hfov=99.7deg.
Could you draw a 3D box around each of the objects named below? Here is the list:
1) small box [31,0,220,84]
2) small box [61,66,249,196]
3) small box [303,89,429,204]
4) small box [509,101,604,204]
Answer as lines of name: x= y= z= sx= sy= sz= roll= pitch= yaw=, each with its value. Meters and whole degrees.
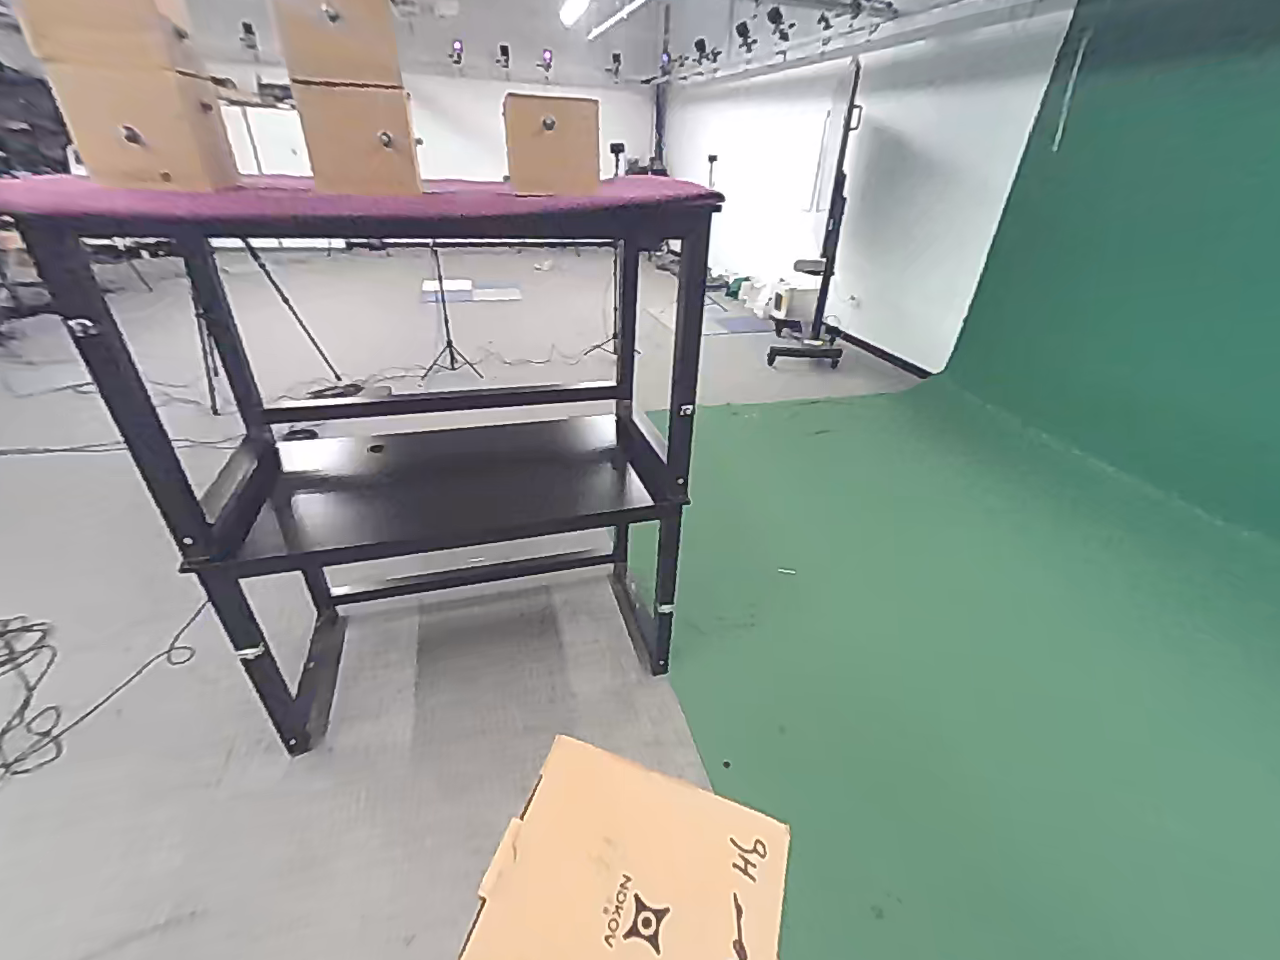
small box: x=-0.803 y=-0.727 z=0.841 sx=0.179 sy=0.176 sz=0.168 roll=-7 pitch=33 yaw=-19
small box: x=-0.807 y=-0.589 z=0.927 sx=0.168 sy=0.176 sz=0.179 roll=-6 pitch=32 yaw=-17
small box: x=-0.502 y=-0.624 z=1.022 sx=0.179 sy=0.176 sz=0.168 roll=-8 pitch=32 yaw=-16
small box: x=-0.175 y=-0.676 z=1.132 sx=0.179 sy=0.176 sz=0.168 roll=-6 pitch=29 yaw=-14
